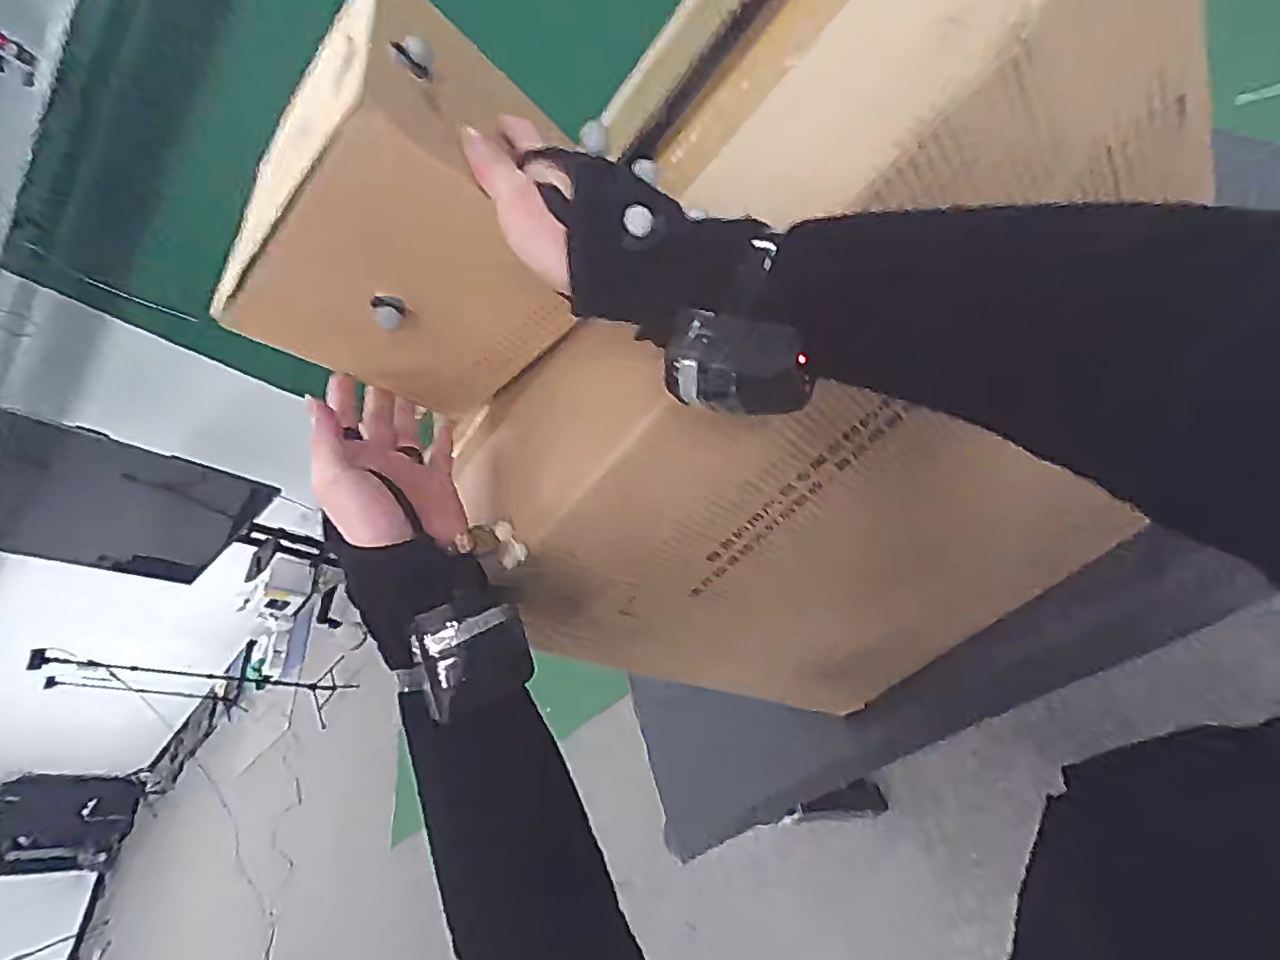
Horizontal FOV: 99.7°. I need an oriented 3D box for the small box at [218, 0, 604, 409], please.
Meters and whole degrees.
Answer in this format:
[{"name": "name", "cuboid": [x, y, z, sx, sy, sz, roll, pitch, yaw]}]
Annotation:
[{"name": "small box", "cuboid": [-0.149, -0.176, 0.376, 0.179, 0.176, 0.168, -30, 56, 31]}]
